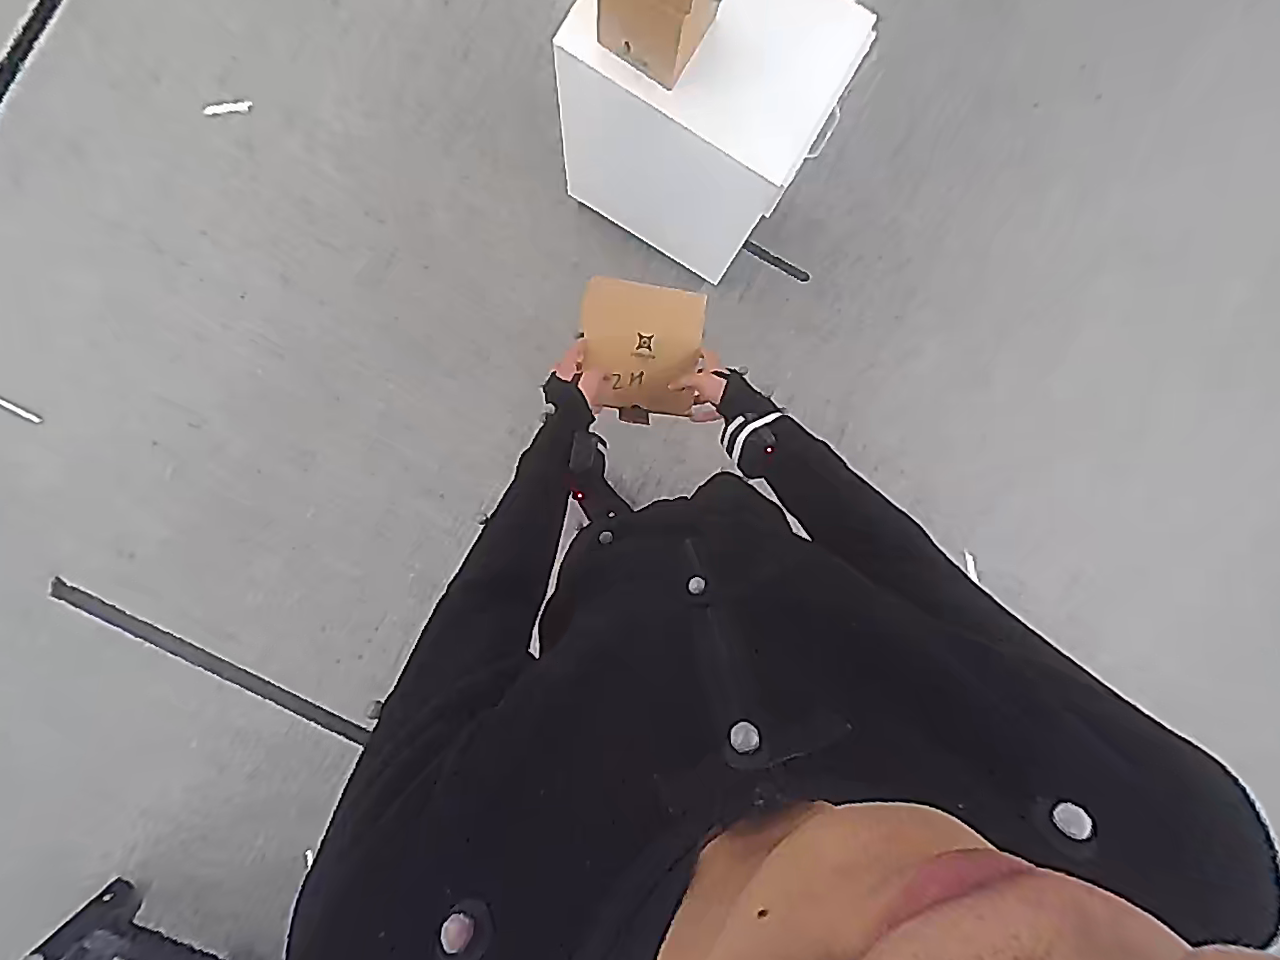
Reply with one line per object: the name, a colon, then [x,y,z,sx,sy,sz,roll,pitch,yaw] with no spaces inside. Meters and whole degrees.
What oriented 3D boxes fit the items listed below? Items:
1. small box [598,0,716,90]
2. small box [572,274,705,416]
small box: [0.033,-0.848,0.944,0.168,0.176,0.179,31,88,-4]
small box: [-0.012,-0.196,0.831,0.168,0.176,0.179,6,98,-11]
